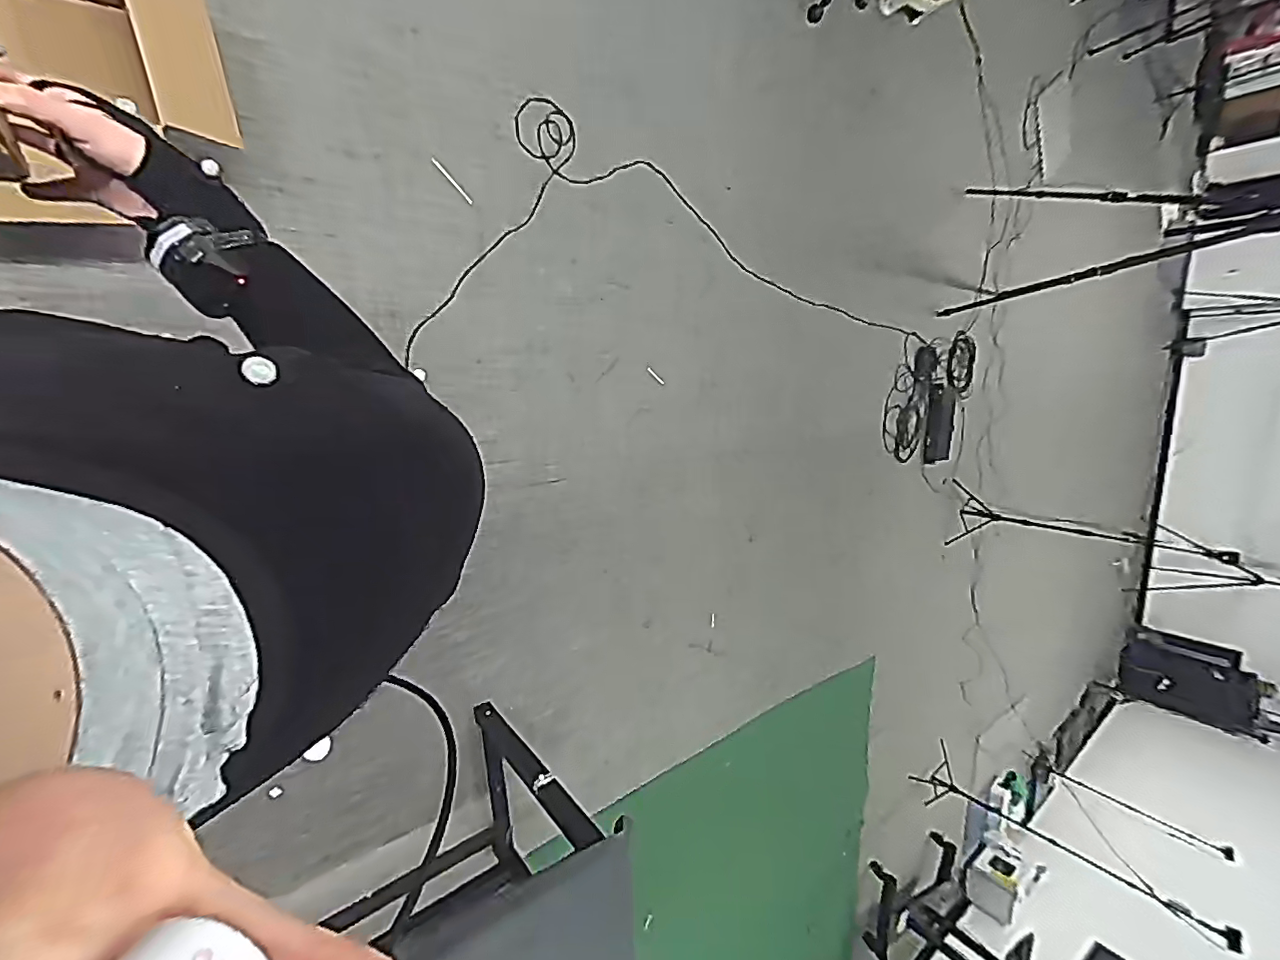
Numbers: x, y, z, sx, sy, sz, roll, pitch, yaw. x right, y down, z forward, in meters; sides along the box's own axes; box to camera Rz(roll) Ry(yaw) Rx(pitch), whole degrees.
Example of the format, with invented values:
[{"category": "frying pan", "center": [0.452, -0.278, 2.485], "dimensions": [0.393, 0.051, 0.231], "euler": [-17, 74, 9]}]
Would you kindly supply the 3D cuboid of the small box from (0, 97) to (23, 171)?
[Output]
[{"category": "small box", "center": [-0.533, -0.299, 0.323], "dimensions": [0.168, 0.176, 0.179], "euler": [-21, 119, -36]}]
